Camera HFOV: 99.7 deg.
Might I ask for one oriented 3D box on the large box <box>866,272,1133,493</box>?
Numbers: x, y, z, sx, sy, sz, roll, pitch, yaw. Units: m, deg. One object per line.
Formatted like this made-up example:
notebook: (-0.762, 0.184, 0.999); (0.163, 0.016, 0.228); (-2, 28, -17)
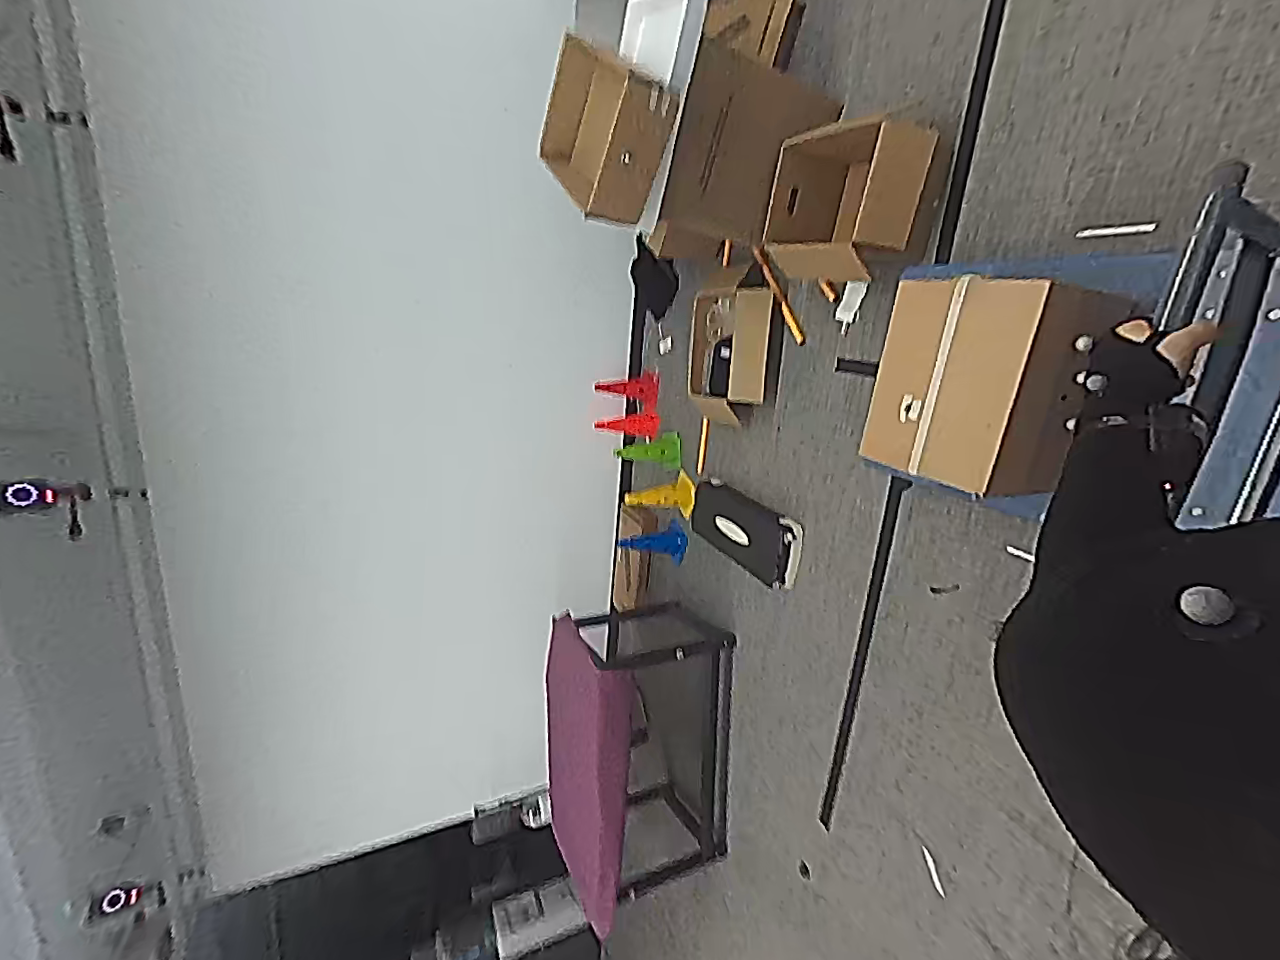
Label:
large box: (0.752, -0.218, 1.167); (0.320, 0.320, 0.408); (-144, 55, -58)
